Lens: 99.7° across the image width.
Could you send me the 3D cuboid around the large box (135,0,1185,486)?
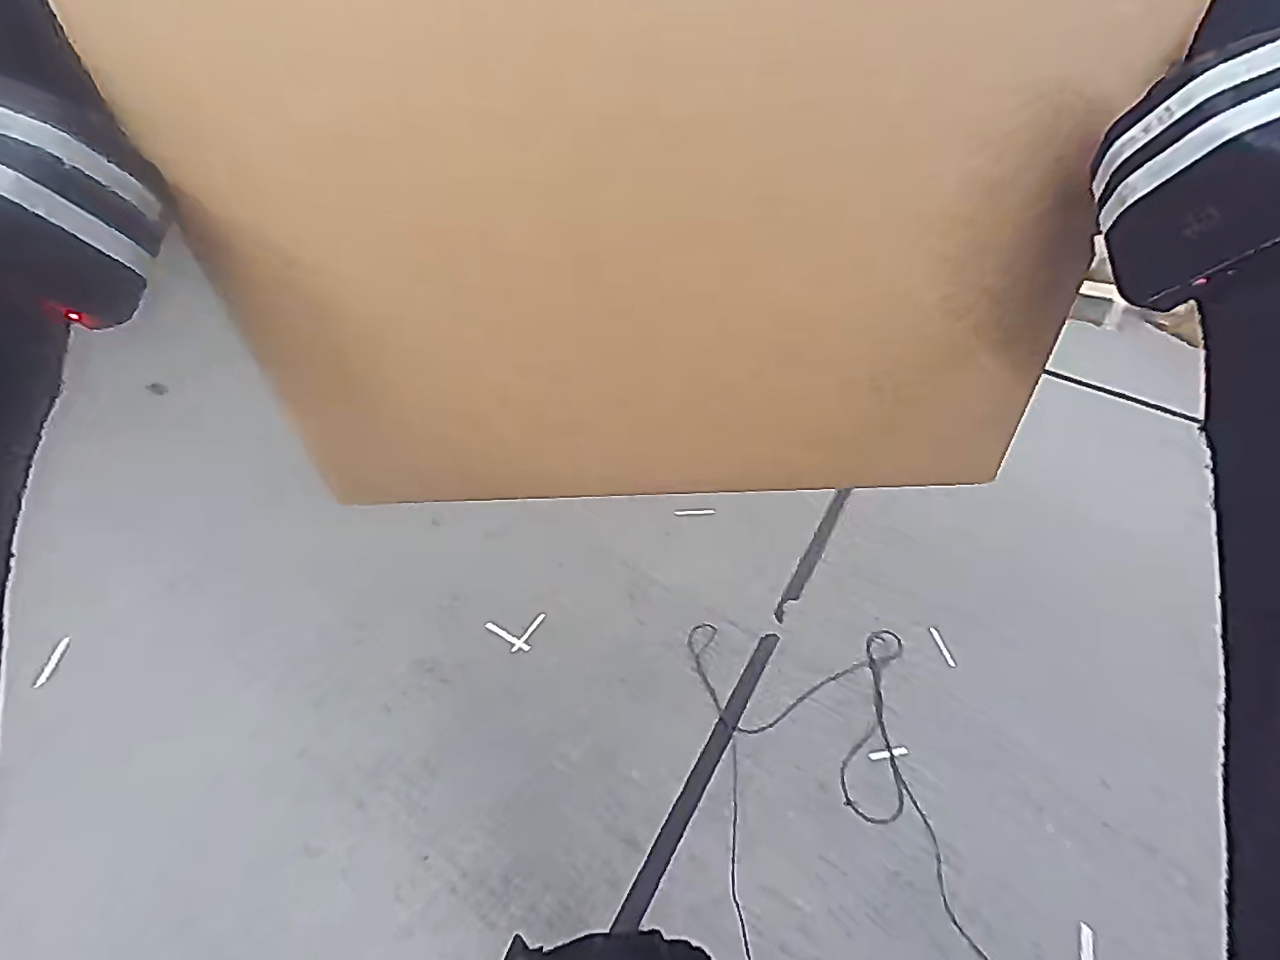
[{"bbox_3d":[0.010,-0.209,0.364,0.408,0.320,0.320,-1,39,2],"label":"large box"}]
